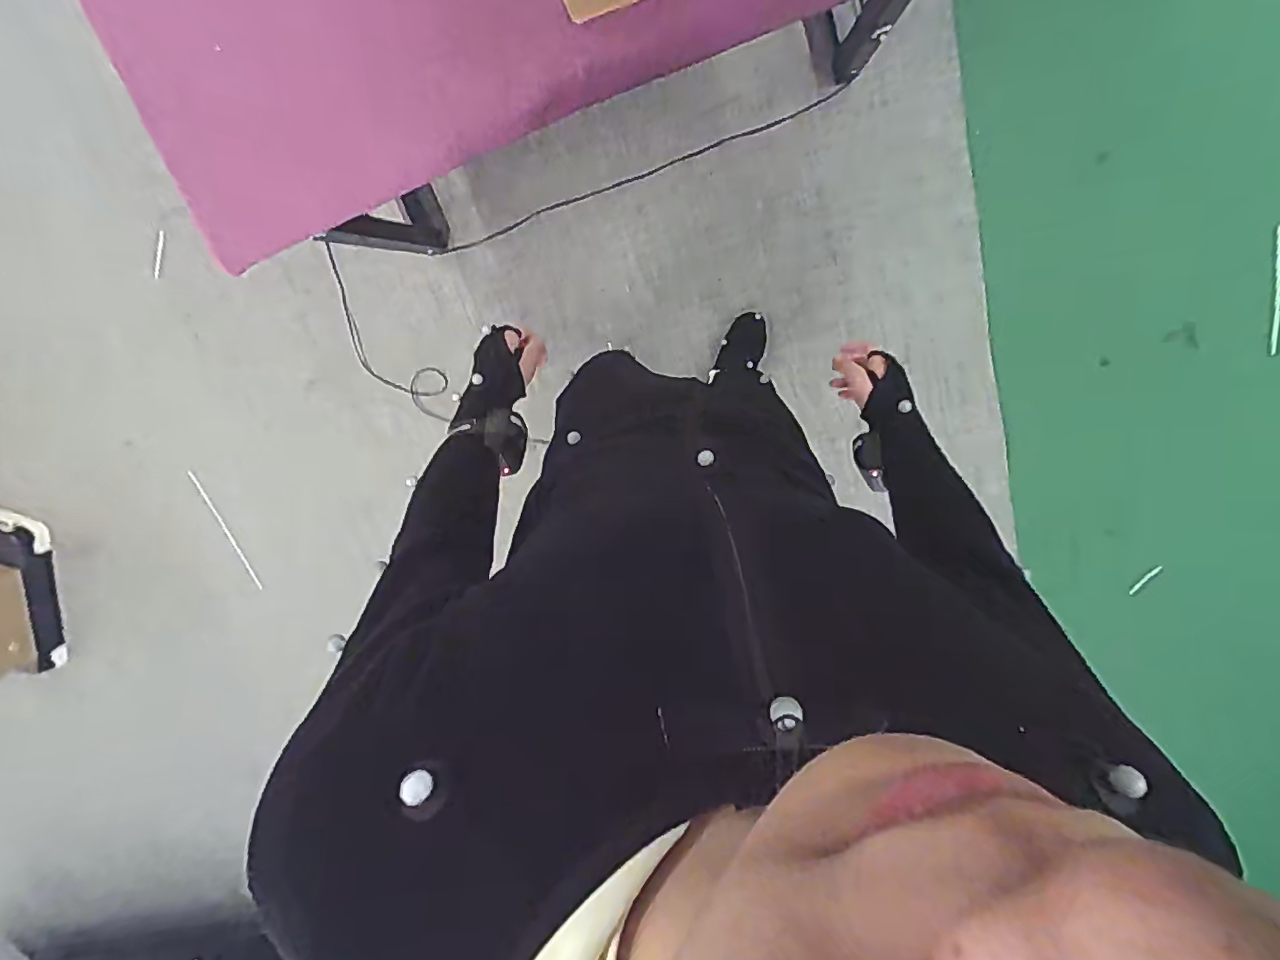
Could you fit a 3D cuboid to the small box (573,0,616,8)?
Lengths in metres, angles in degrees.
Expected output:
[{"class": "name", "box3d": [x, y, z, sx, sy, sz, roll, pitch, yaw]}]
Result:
[{"class": "small box", "box3d": [-0.034, -0.667, 0.590, 0.168, 0.176, 0.179, -12, 106, 11]}]
